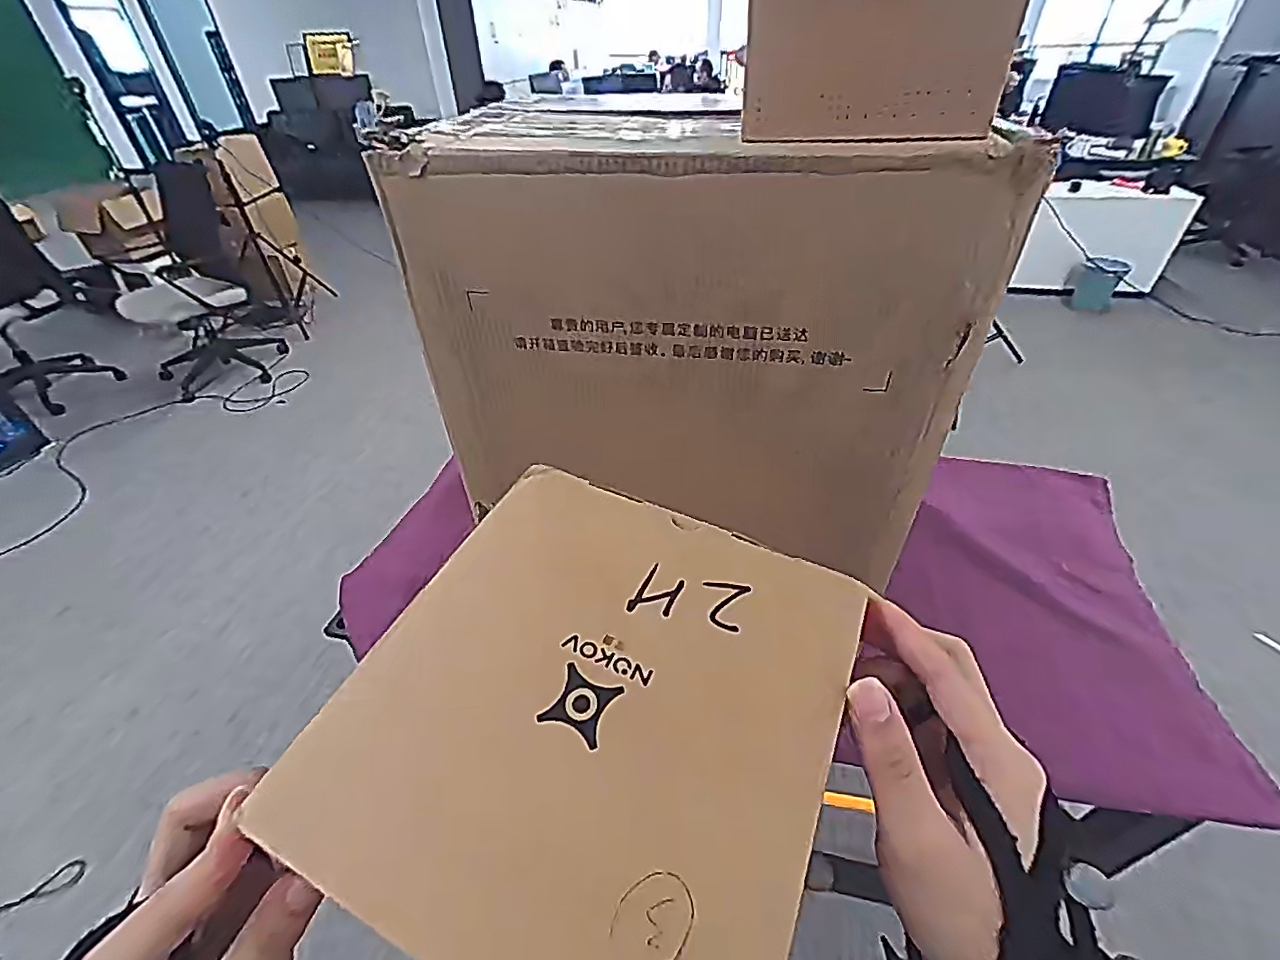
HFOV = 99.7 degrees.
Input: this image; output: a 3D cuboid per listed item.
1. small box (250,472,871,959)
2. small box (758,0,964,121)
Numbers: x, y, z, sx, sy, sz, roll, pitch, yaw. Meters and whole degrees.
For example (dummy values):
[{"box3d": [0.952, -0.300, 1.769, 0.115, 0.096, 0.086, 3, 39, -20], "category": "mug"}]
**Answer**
[{"box3d": [-0.014, 0.132, 0.254, 0.168, 0.176, 0.179, 20, 50, 17], "category": "small box"}, {"box3d": [0.213, -0.466, 0.540, 0.179, 0.176, 0.168, 5, 39, 10], "category": "small box"}]
